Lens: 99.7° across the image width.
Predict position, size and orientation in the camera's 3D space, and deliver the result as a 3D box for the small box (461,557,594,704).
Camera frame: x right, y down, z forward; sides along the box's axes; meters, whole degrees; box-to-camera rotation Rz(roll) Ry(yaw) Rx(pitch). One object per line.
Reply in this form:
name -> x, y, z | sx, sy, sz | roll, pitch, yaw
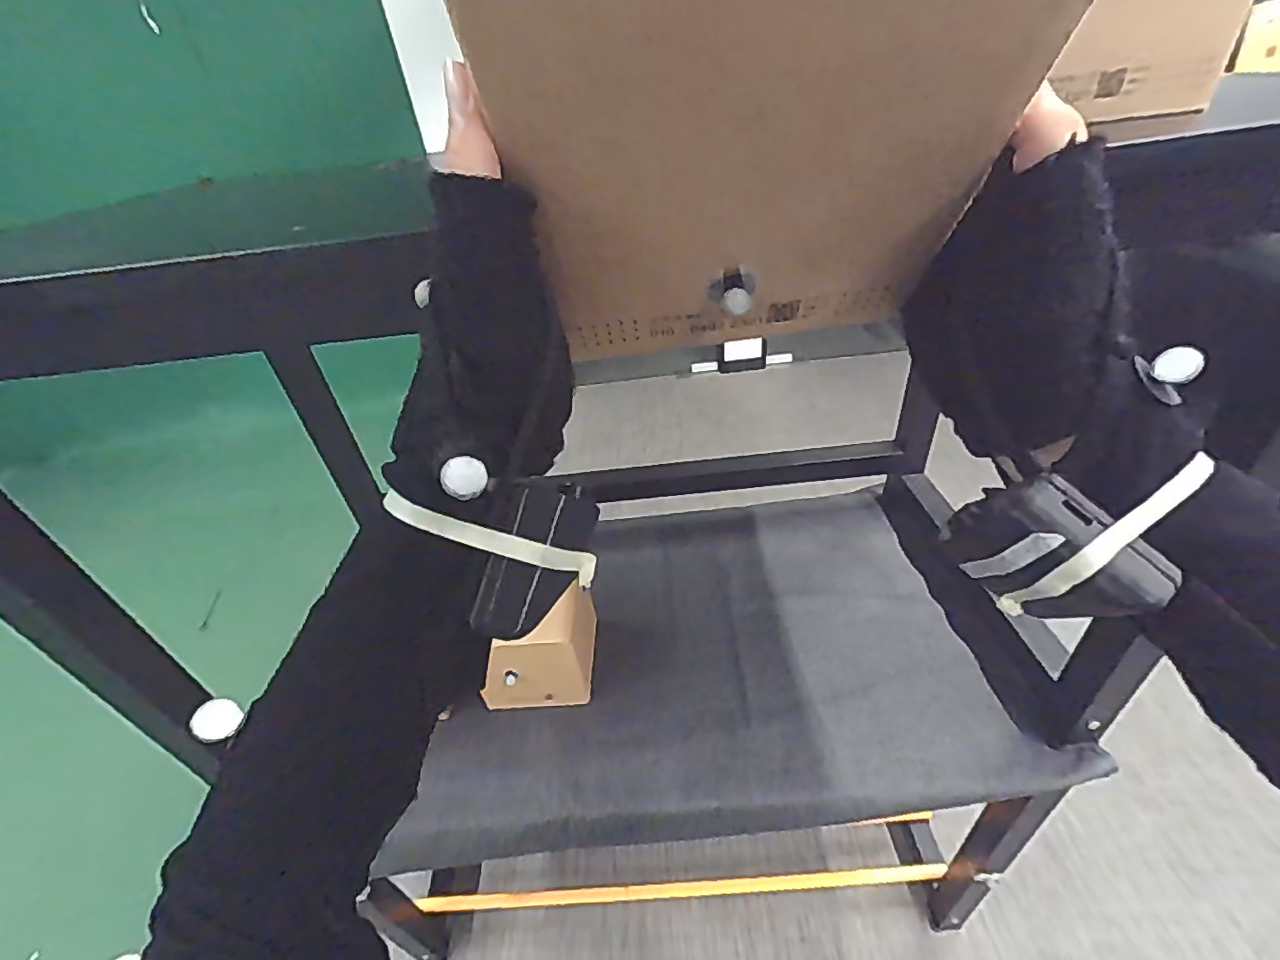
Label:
small box -> -0.173, 0.253, 0.898 | 0.168, 0.176, 0.179 | -5, 35, 3
